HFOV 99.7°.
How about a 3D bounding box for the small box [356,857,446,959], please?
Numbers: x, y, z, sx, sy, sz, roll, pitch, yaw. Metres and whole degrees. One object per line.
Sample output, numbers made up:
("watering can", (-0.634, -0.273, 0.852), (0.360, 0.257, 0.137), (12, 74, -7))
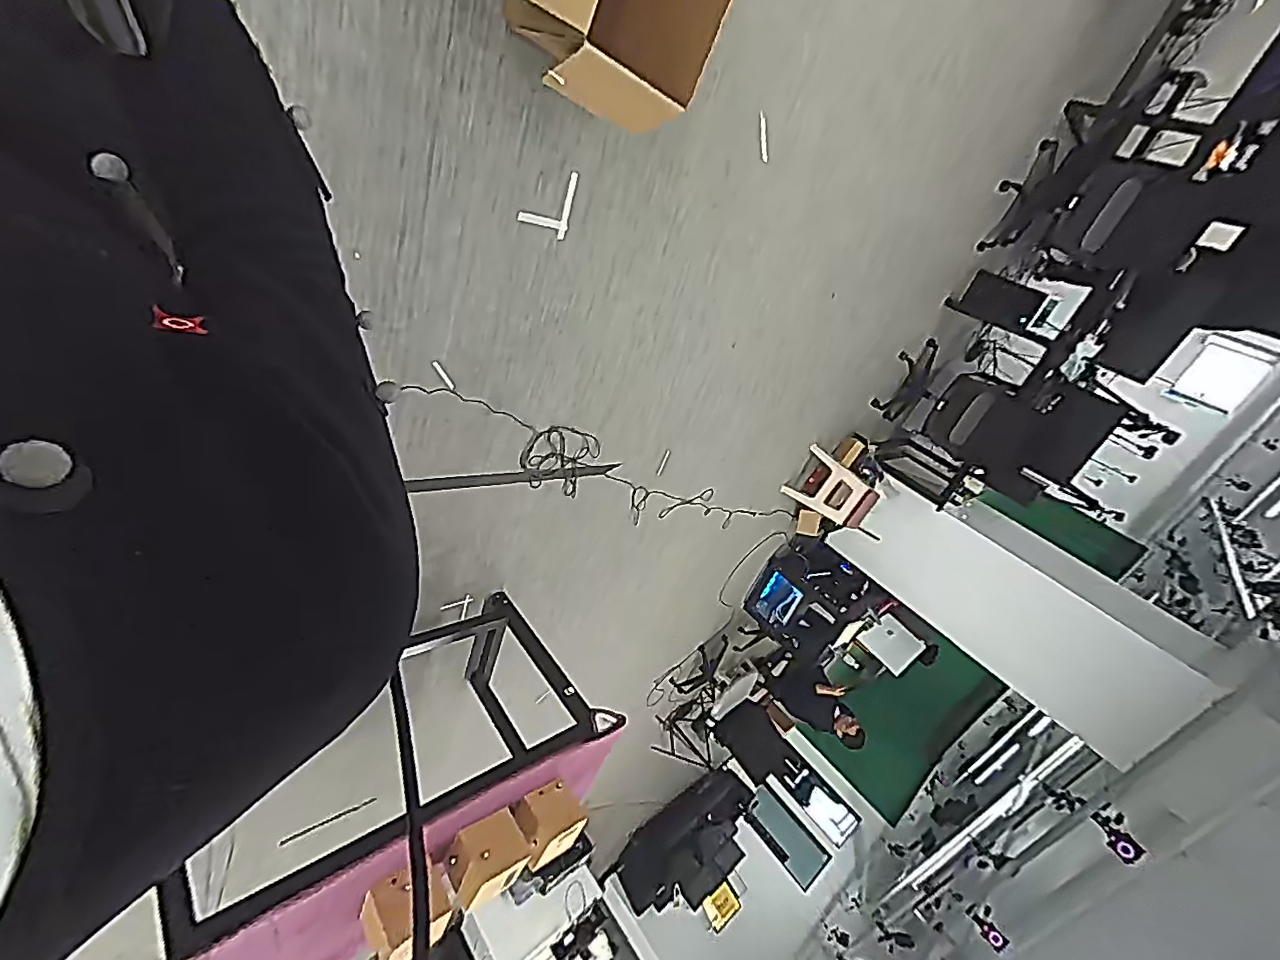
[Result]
("small box", (-0.659, 1.187, 1.480), (0.168, 0.176, 0.179), (-7, 129, -46))

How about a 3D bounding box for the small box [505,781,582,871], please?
("small box", (-0.330, 1.152, 1.825), (0.168, 0.176, 0.179), (0, 124, -49))
